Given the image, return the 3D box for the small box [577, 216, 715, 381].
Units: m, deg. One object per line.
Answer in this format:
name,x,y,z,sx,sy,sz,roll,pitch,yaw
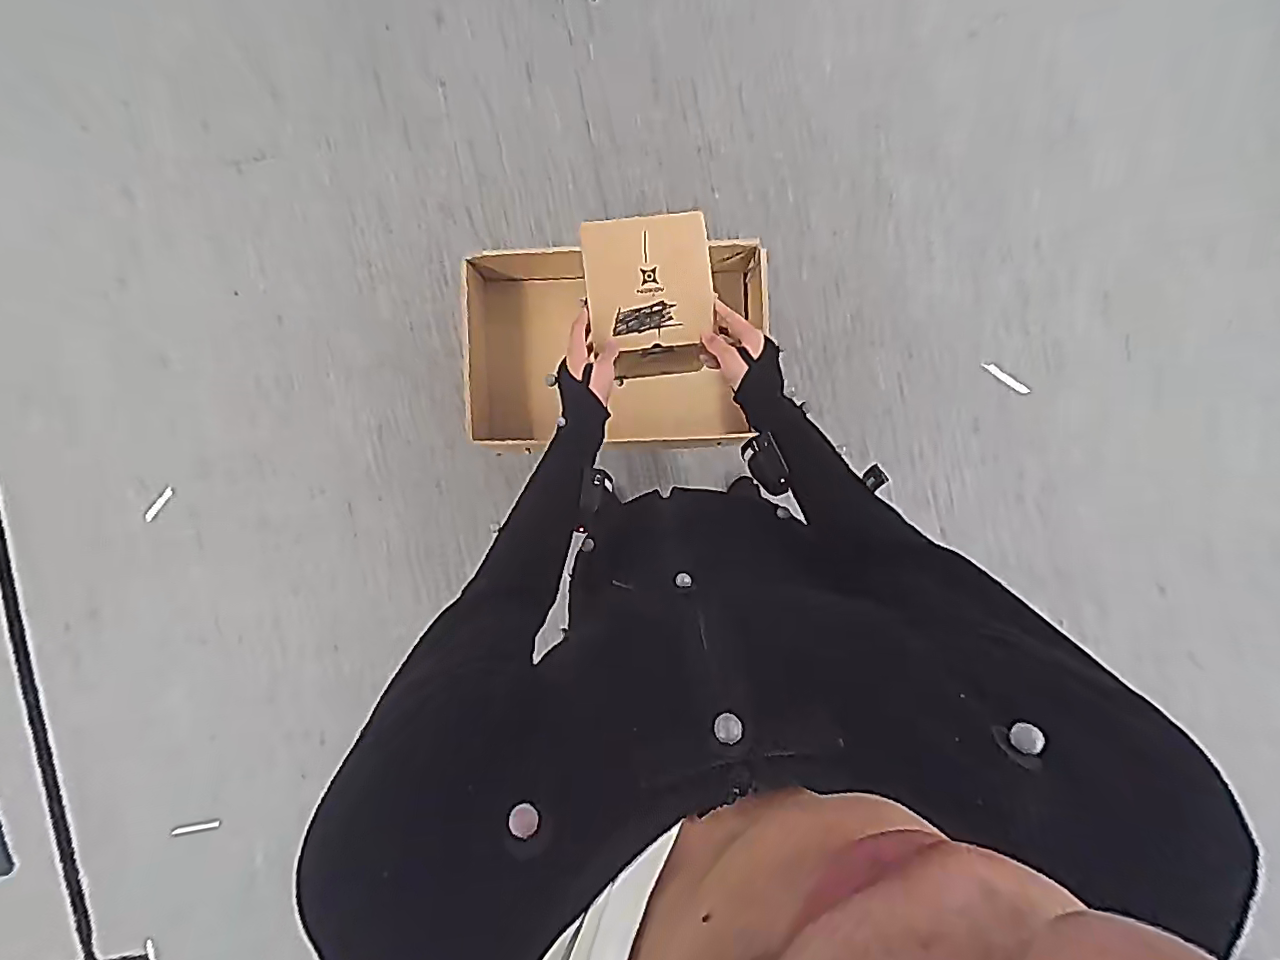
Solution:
small box,0.006,-0.245,0.774,0.168,0.176,0.179,-7,88,-3
